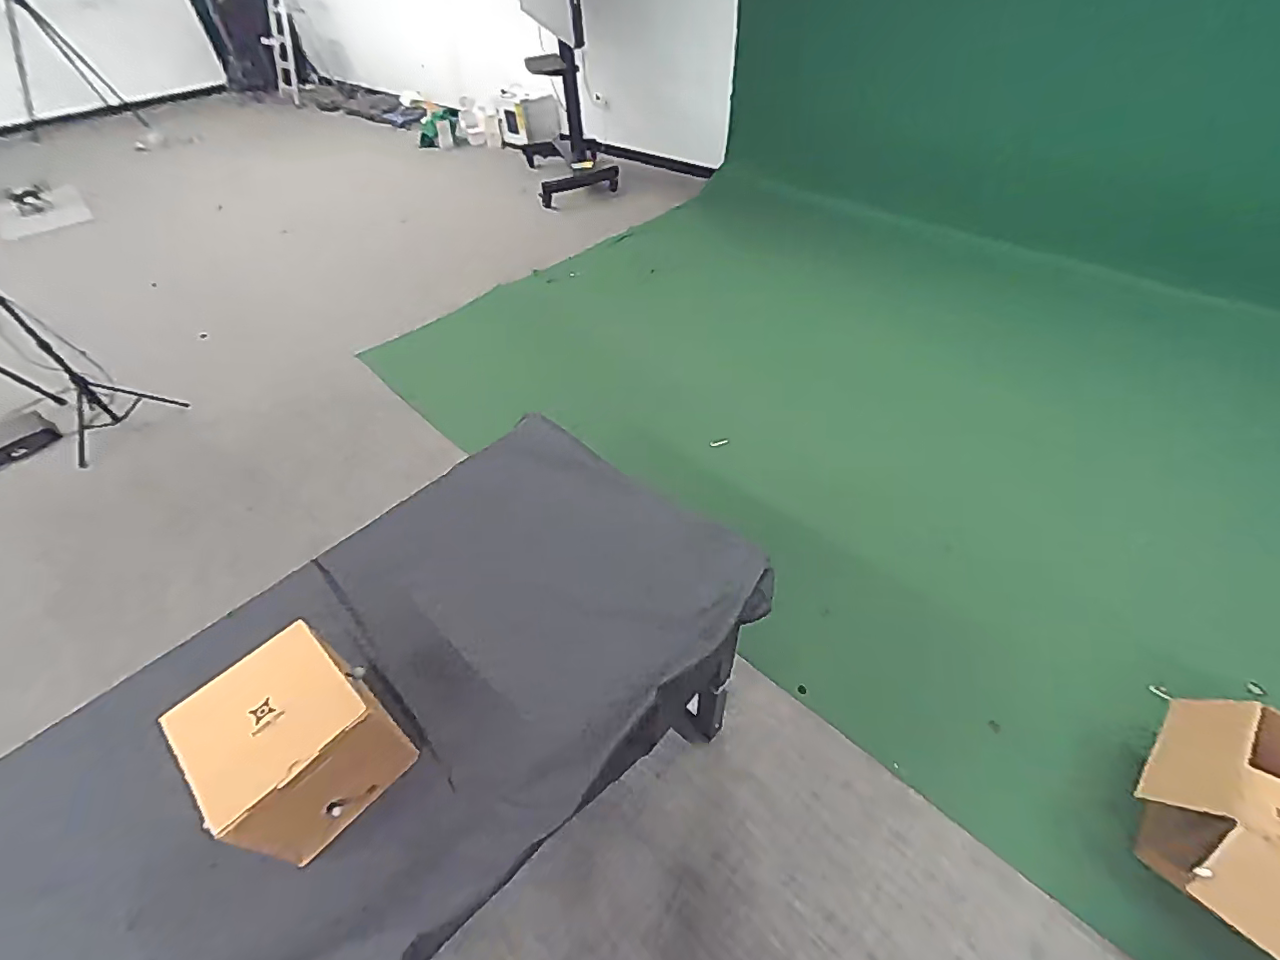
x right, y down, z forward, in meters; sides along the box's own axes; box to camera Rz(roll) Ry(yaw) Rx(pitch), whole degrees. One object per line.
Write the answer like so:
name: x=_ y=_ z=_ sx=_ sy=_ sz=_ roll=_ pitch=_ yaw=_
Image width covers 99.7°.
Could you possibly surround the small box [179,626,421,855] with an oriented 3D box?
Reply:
small box: x=-0.412 y=0.327 z=0.678 sx=0.179 sy=0.176 sz=0.168 roll=32 pitch=56 yaw=28
